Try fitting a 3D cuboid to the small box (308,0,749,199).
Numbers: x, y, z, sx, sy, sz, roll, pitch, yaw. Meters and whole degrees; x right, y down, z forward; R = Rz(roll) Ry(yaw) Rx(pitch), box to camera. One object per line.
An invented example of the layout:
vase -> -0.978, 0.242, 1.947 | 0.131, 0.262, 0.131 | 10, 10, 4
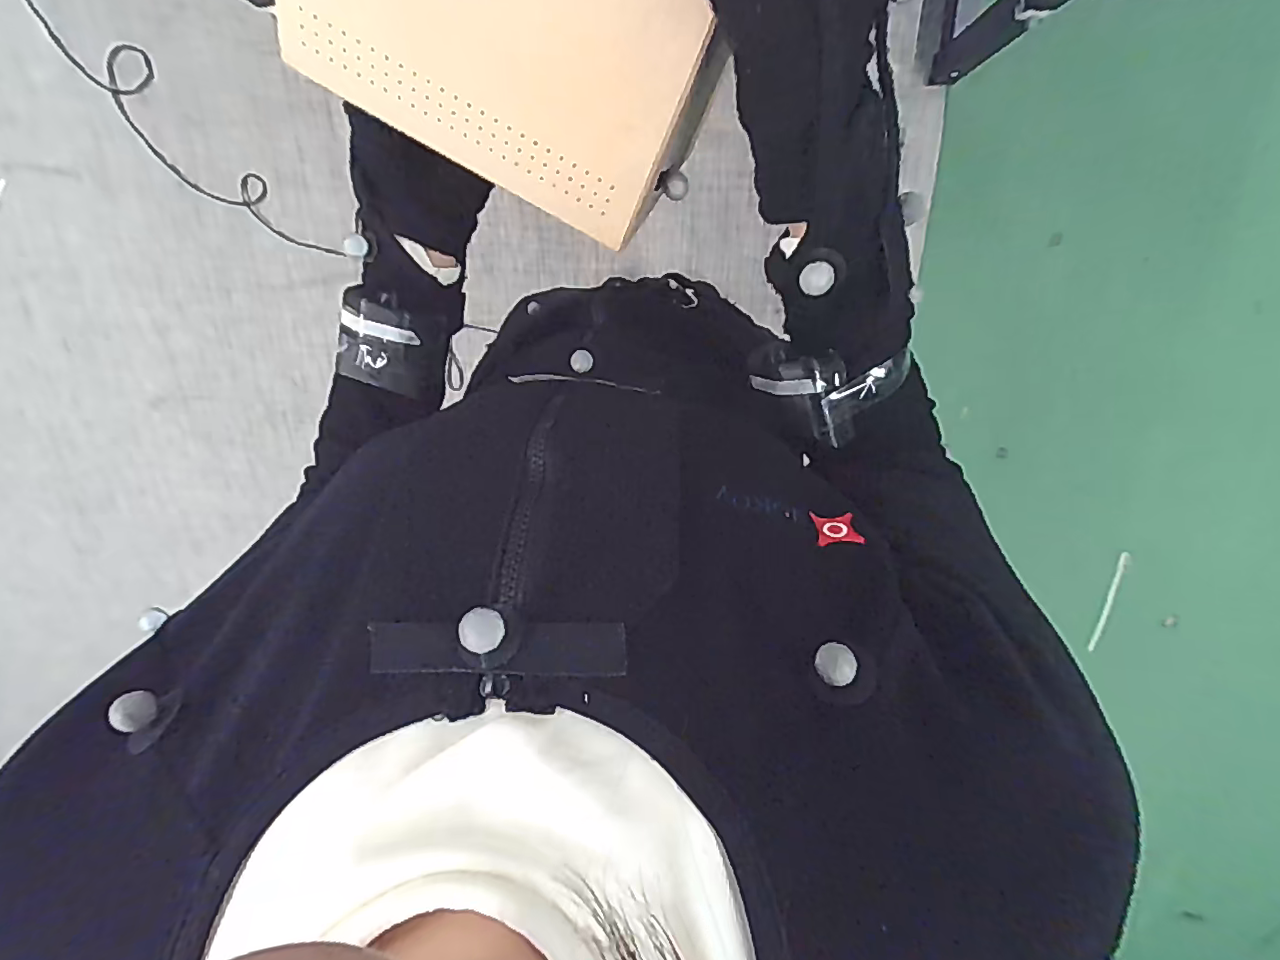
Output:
small box -> -0.032, -0.265, 0.256 | 0.179, 0.168, 0.176 | 26, 139, -6
